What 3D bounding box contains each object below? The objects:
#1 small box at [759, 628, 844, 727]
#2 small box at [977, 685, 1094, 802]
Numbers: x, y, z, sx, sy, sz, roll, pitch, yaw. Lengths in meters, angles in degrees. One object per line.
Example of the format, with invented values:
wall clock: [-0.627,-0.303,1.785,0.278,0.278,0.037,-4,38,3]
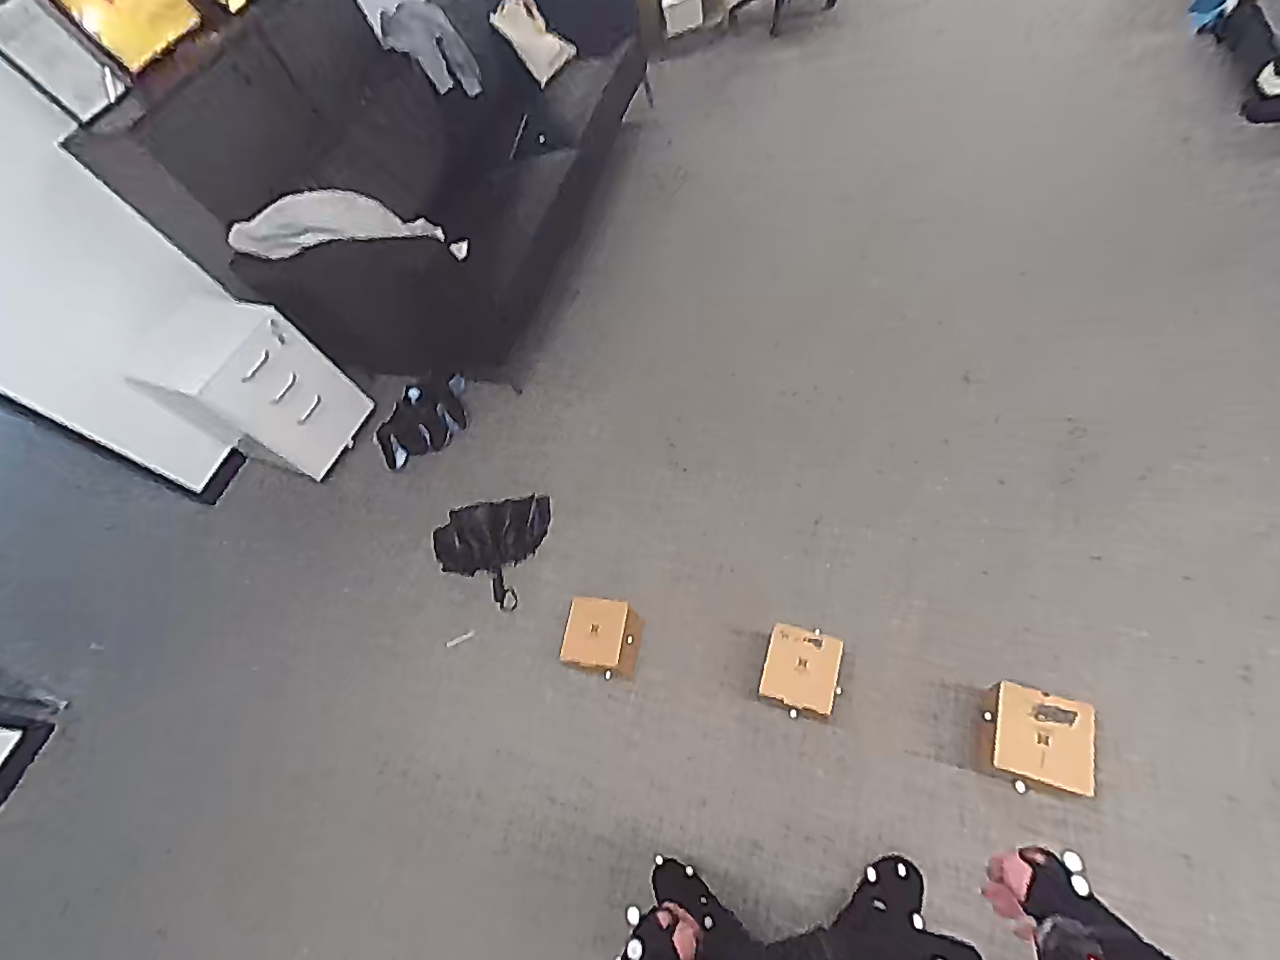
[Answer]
small box: [0.405,0.494,1.343,0.168,0.176,0.179,10,63,23]
small box: [0.838,0.564,1.156,0.168,0.176,0.179,10,64,24]
